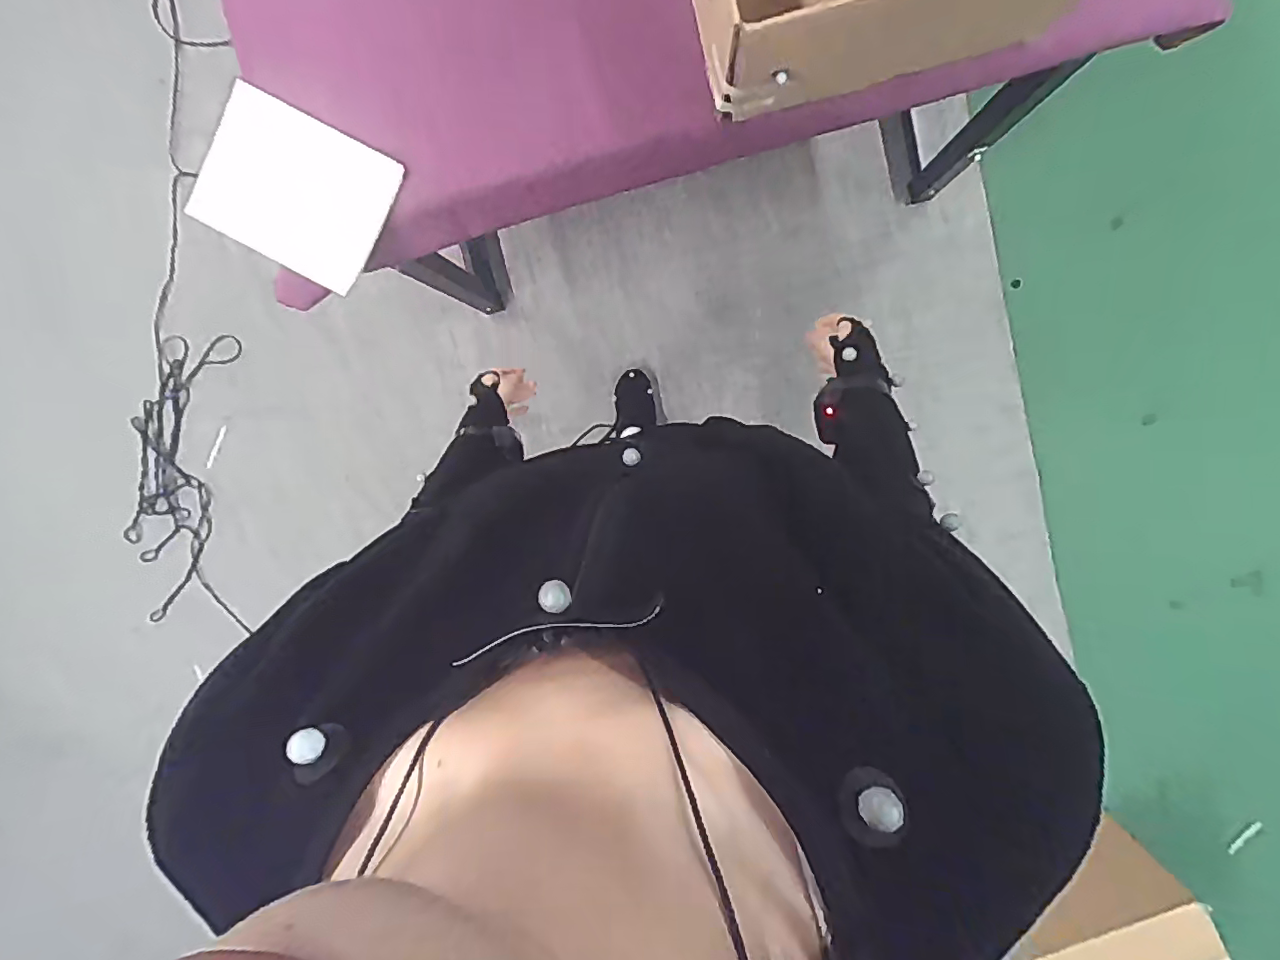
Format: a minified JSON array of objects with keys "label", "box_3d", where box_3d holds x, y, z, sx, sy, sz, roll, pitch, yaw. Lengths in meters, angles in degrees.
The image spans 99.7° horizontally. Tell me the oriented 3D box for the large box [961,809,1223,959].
[{"label":"large box","box_3d":[1.147,1.149,1.387,0.408,0.320,0.320,-28,94,6]}]
